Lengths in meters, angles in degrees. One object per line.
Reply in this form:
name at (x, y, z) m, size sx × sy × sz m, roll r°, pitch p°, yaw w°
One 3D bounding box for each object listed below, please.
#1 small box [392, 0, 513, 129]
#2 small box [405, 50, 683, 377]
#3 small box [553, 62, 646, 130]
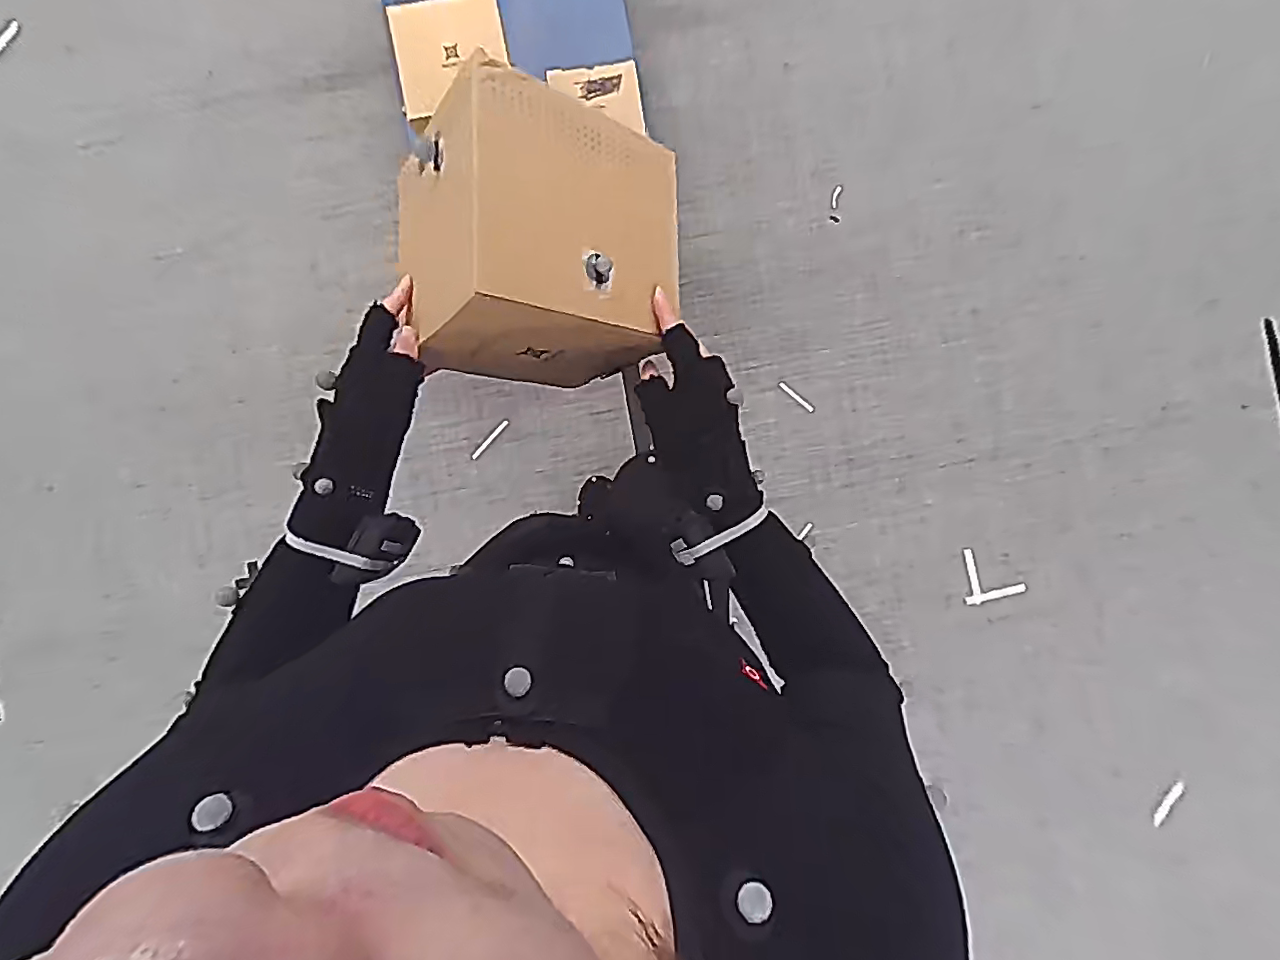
small box at (-0.281, -0.636, 0.891) m, size 0.168 × 0.176 × 0.179 m, roll -11°, pitch 91°, yaw -2°
small box at (-0.081, -0.195, 0.449) m, size 0.179 × 0.168 × 0.176 m, roll 2°, pitch 84°, yaw -39°
small box at (-0.078, -0.666, 1.062) m, size 0.168 × 0.176 × 0.179 m, roll -9°, pitch 91°, yaw -2°
